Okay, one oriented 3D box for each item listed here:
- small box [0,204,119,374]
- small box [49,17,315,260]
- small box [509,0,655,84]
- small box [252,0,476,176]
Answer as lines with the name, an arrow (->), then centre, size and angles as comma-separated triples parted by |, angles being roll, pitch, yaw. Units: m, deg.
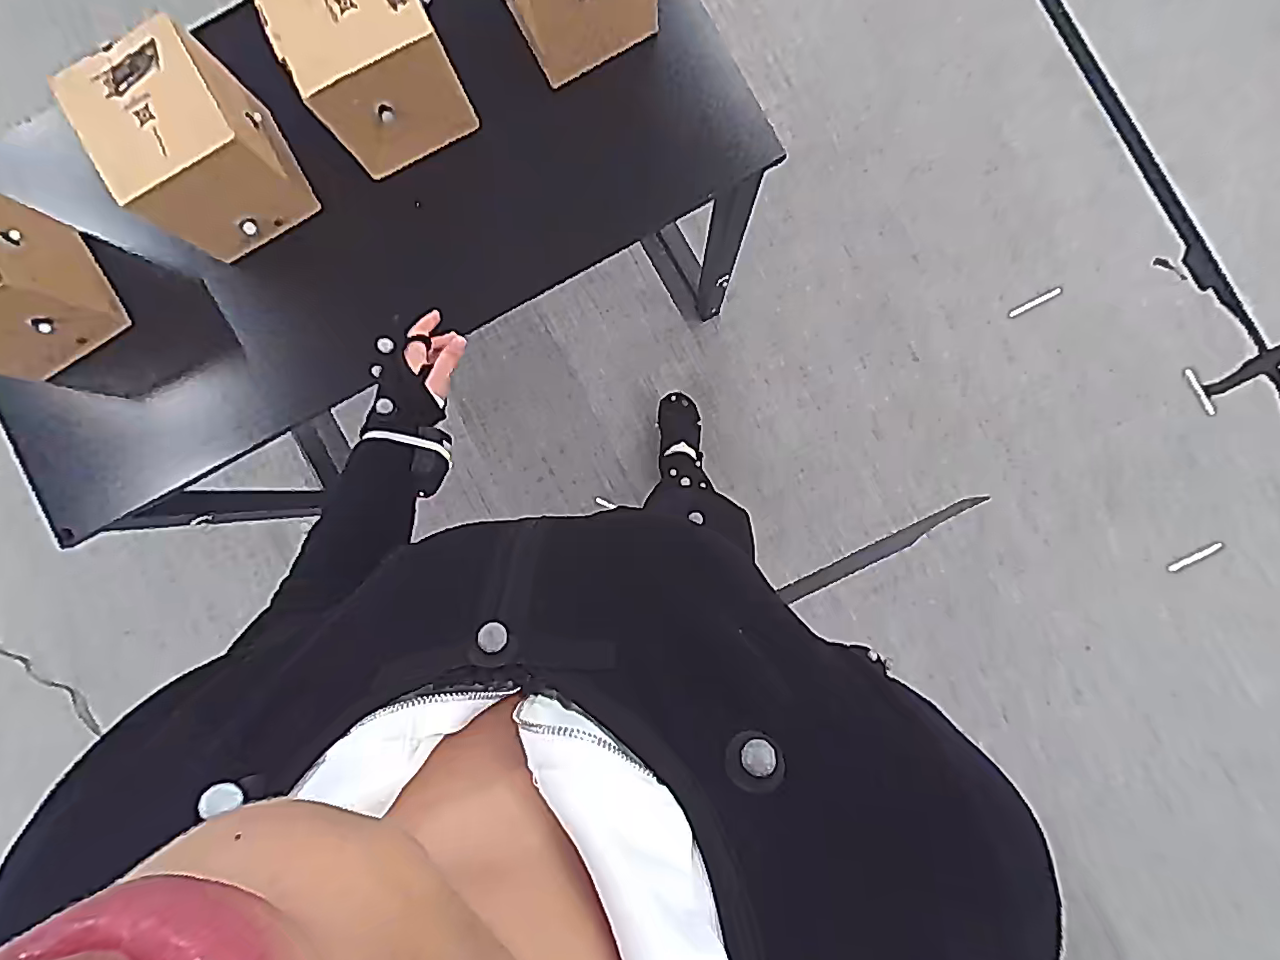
small box -> -0.865, -0.258, 0.714 | 0.168, 0.176, 0.179 | -32, 87, -1
small box -> -0.580, -0.429, 0.710 | 0.168, 0.176, 0.179 | -29, 89, 1
small box -> -0.090, -0.673, 0.701 | 0.179, 0.176, 0.168 | -27, 88, 1
small box -> -0.347, -0.544, 0.708 | 0.179, 0.176, 0.168 | -27, 88, 2
